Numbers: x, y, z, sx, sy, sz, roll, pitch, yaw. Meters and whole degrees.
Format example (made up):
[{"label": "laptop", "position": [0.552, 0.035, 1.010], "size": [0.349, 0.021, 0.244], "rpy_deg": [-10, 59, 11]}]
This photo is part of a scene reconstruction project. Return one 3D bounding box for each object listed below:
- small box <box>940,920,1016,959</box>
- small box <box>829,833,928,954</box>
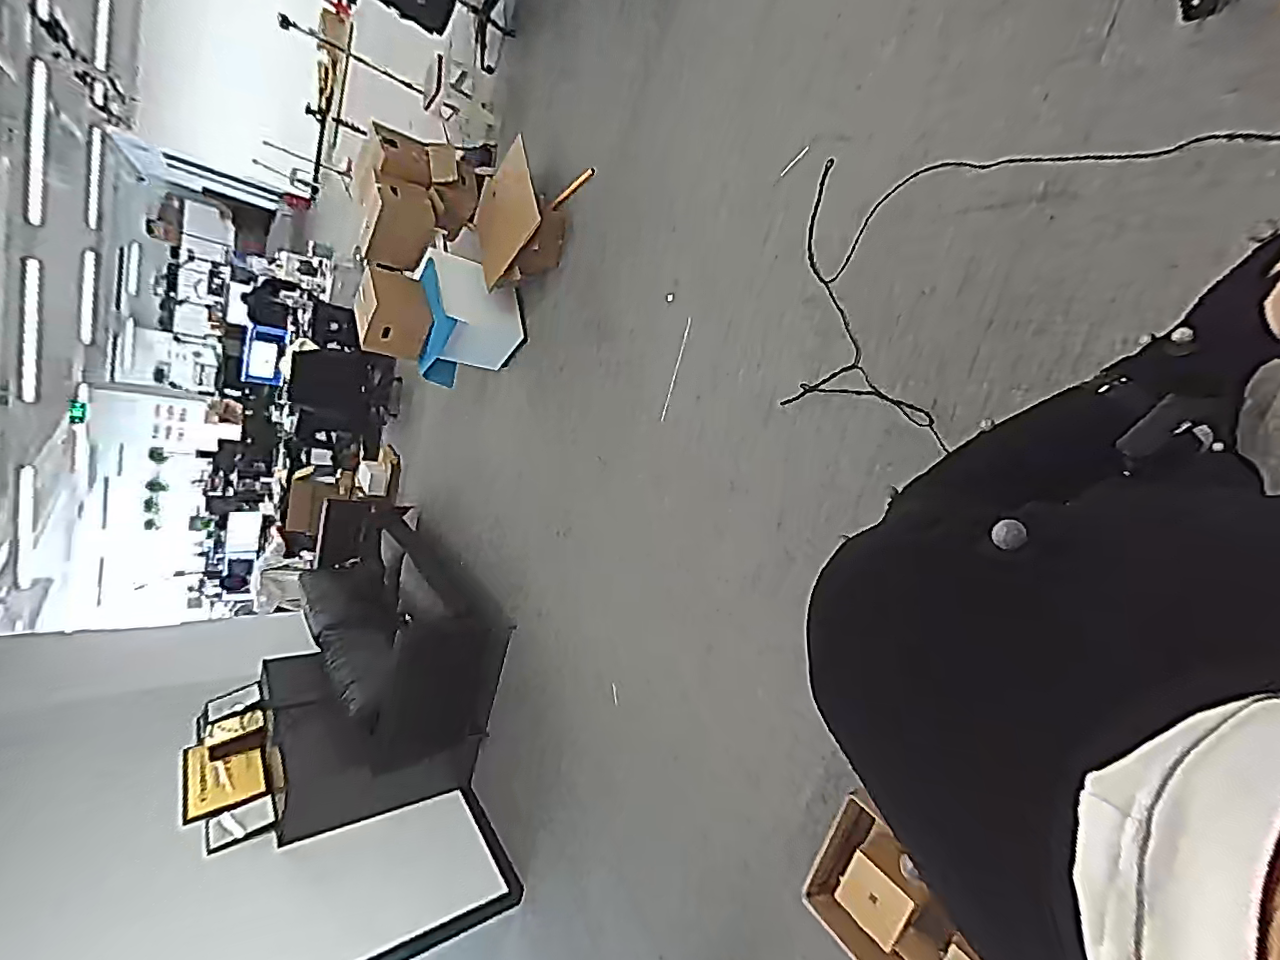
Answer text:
[{"label": "small box", "position": [0.809, 1.212, 1.287], "size": [0.168, 0.176, 0.179], "rpy_deg": [30, 108, 47]}, {"label": "small box", "position": [0.655, 1.116, 1.476], "size": [0.168, 0.176, 0.179], "rpy_deg": [30, 108, 46]}]
